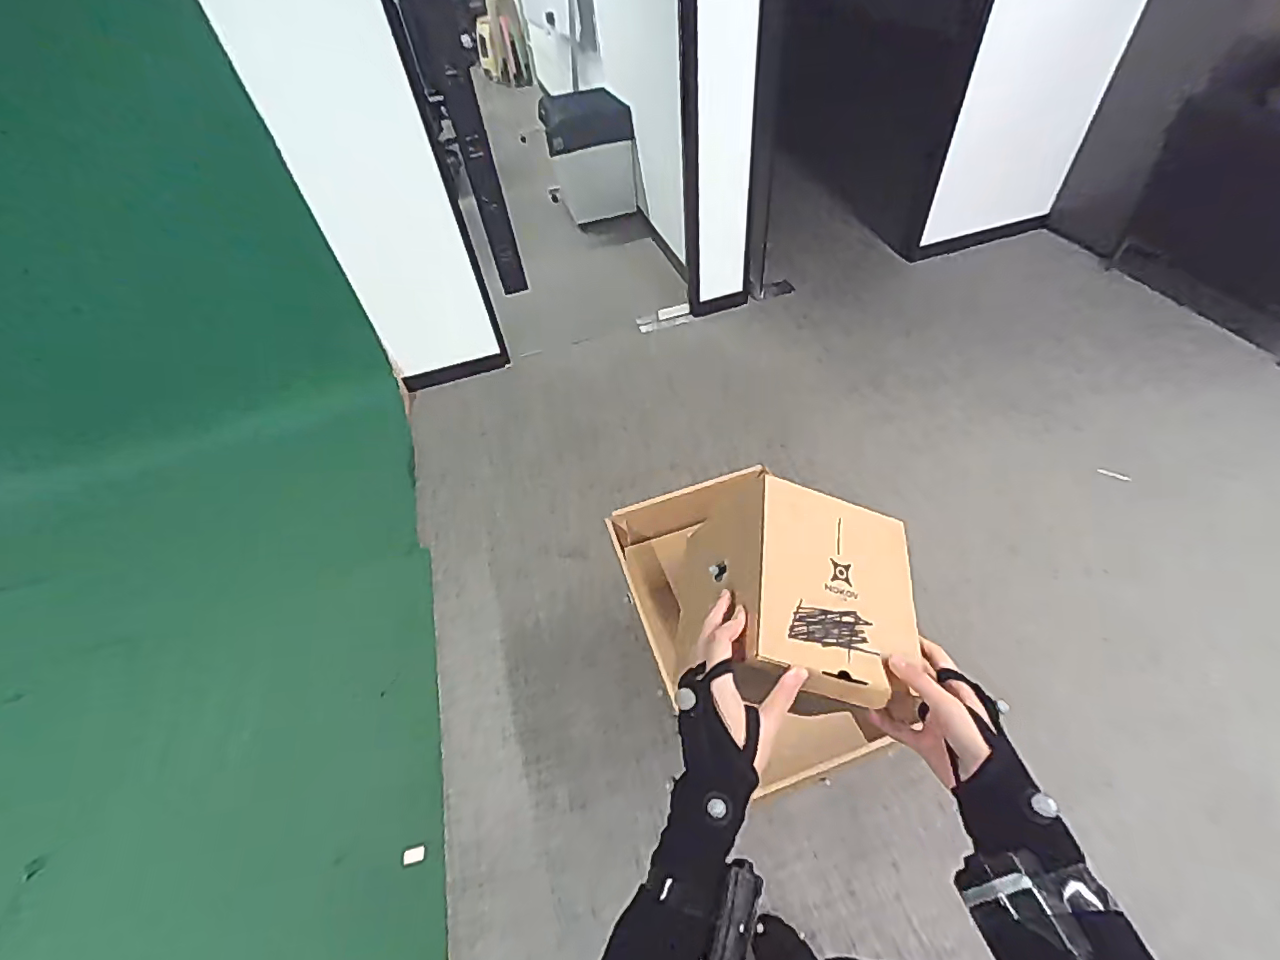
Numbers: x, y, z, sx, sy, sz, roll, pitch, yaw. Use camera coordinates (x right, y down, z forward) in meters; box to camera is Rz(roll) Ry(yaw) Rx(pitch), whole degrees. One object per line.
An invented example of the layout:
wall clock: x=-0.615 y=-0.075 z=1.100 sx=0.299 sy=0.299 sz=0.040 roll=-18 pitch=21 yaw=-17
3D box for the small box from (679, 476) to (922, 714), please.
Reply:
small box: x=0.150 y=0.129 z=0.553 sx=0.168 sy=0.176 sz=0.179 roll=18 pitch=57 yaw=-13
